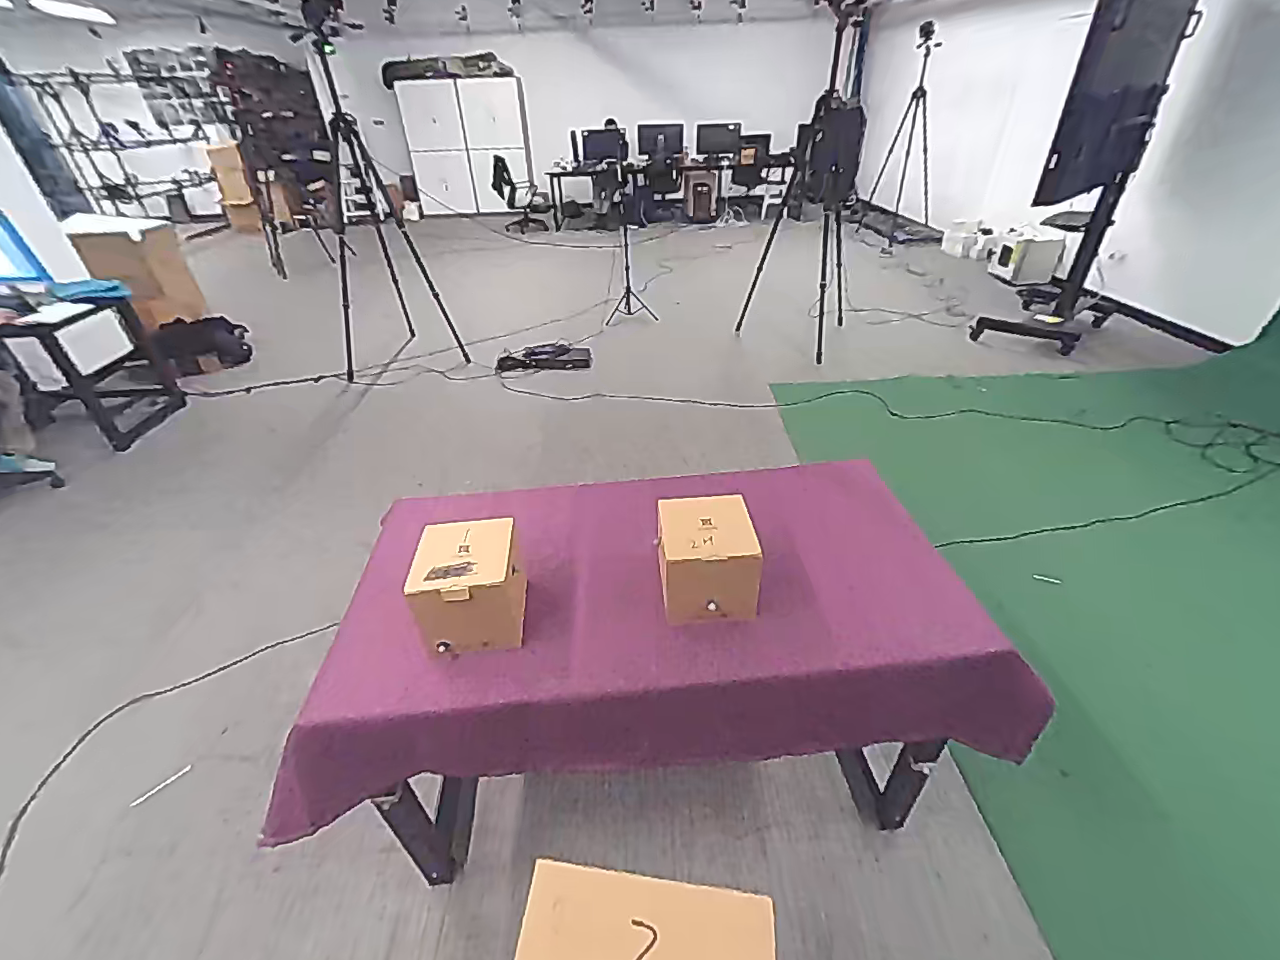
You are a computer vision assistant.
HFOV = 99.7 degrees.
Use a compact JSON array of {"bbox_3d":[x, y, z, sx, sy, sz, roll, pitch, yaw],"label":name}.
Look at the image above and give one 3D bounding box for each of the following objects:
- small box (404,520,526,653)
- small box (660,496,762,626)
[{"bbox_3d":[-0.306,0.198,0.989,0.168,0.176,0.179,-5,34,-4],"label":"small box"},{"bbox_3d":[0.124,0.151,1.023,0.168,0.176,0.179,-4,35,-1],"label":"small box"}]
